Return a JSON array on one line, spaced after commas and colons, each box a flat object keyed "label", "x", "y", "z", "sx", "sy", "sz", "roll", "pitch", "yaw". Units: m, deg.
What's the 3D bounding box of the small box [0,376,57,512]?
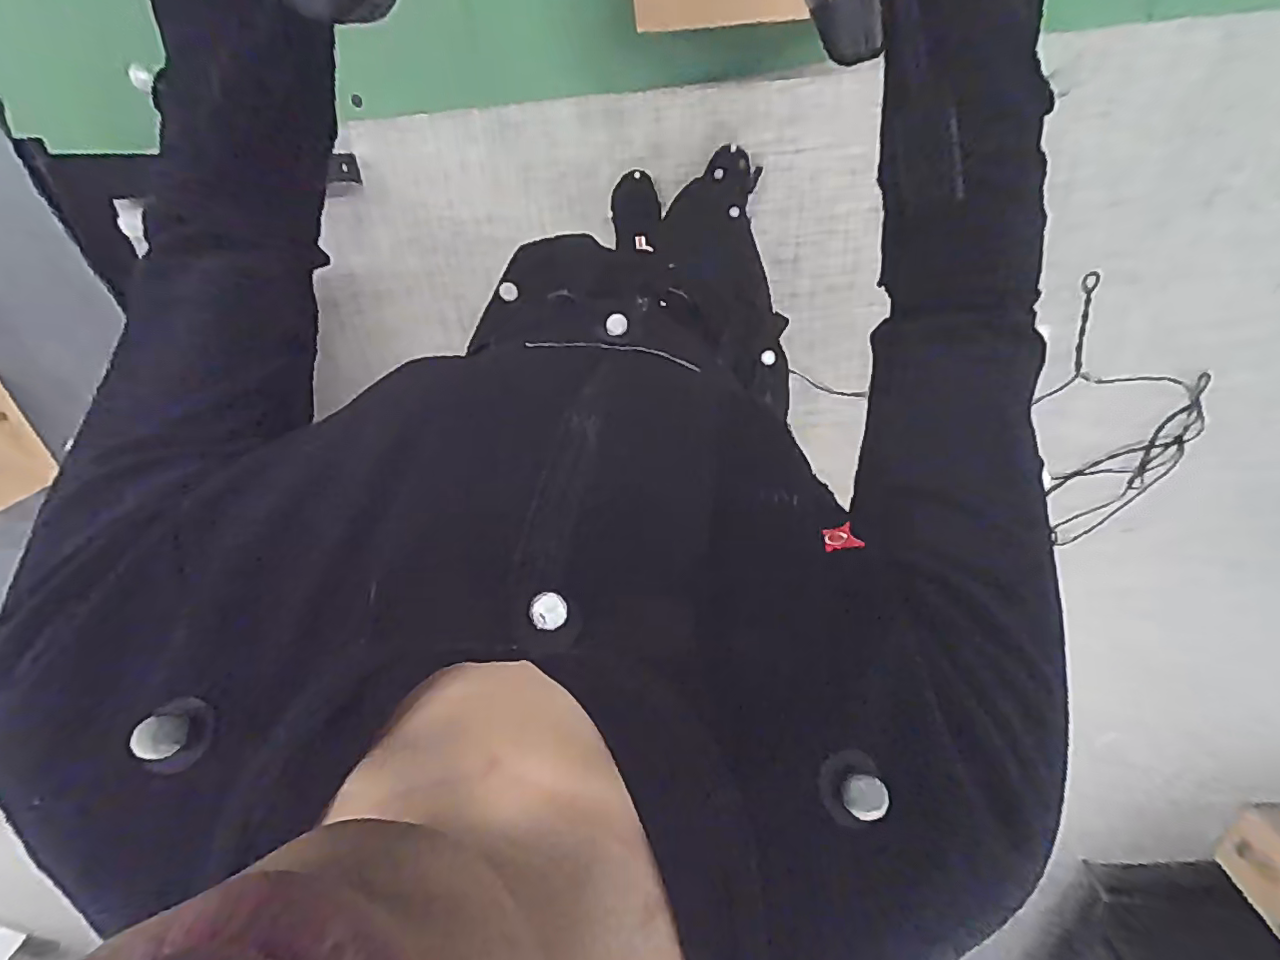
[{"label": "small box", "x": -0.912, "y": -0.035, "z": 0.679, "sx": 0.179, "sy": 0.176, "sz": 0.168, "roll": -2, "pitch": 121, "yaw": 4}]
